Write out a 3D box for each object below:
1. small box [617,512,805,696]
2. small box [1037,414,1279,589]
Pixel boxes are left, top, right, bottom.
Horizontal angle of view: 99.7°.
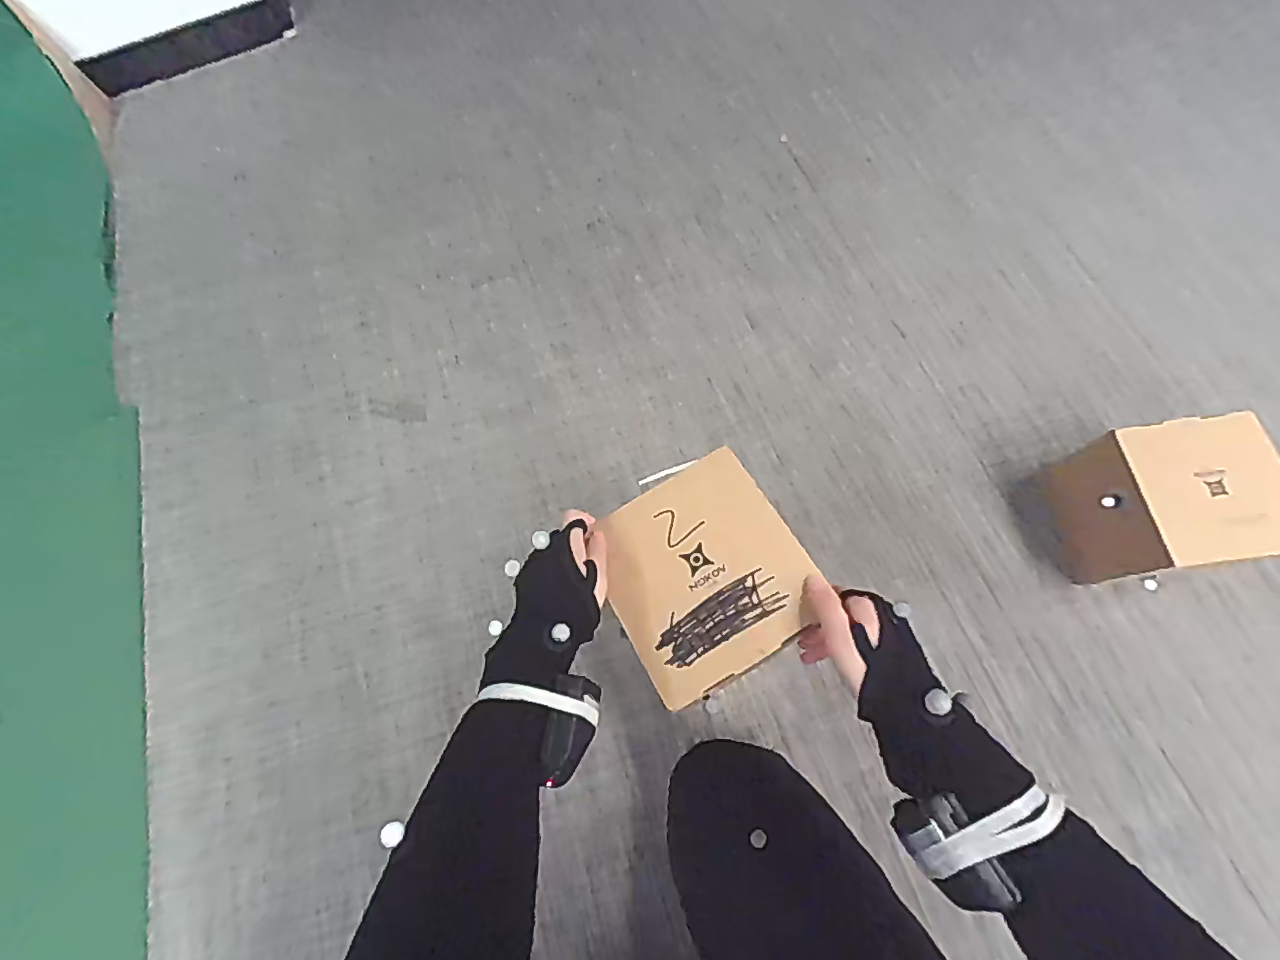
[{"bbox_3d":[0.090,0.171,0.720,0.179,0.176,0.168,-26,70,-4],"label":"small box"},{"bbox_3d":[0.675,0.036,0.712,0.168,0.176,0.179,-8,69,3],"label":"small box"}]
